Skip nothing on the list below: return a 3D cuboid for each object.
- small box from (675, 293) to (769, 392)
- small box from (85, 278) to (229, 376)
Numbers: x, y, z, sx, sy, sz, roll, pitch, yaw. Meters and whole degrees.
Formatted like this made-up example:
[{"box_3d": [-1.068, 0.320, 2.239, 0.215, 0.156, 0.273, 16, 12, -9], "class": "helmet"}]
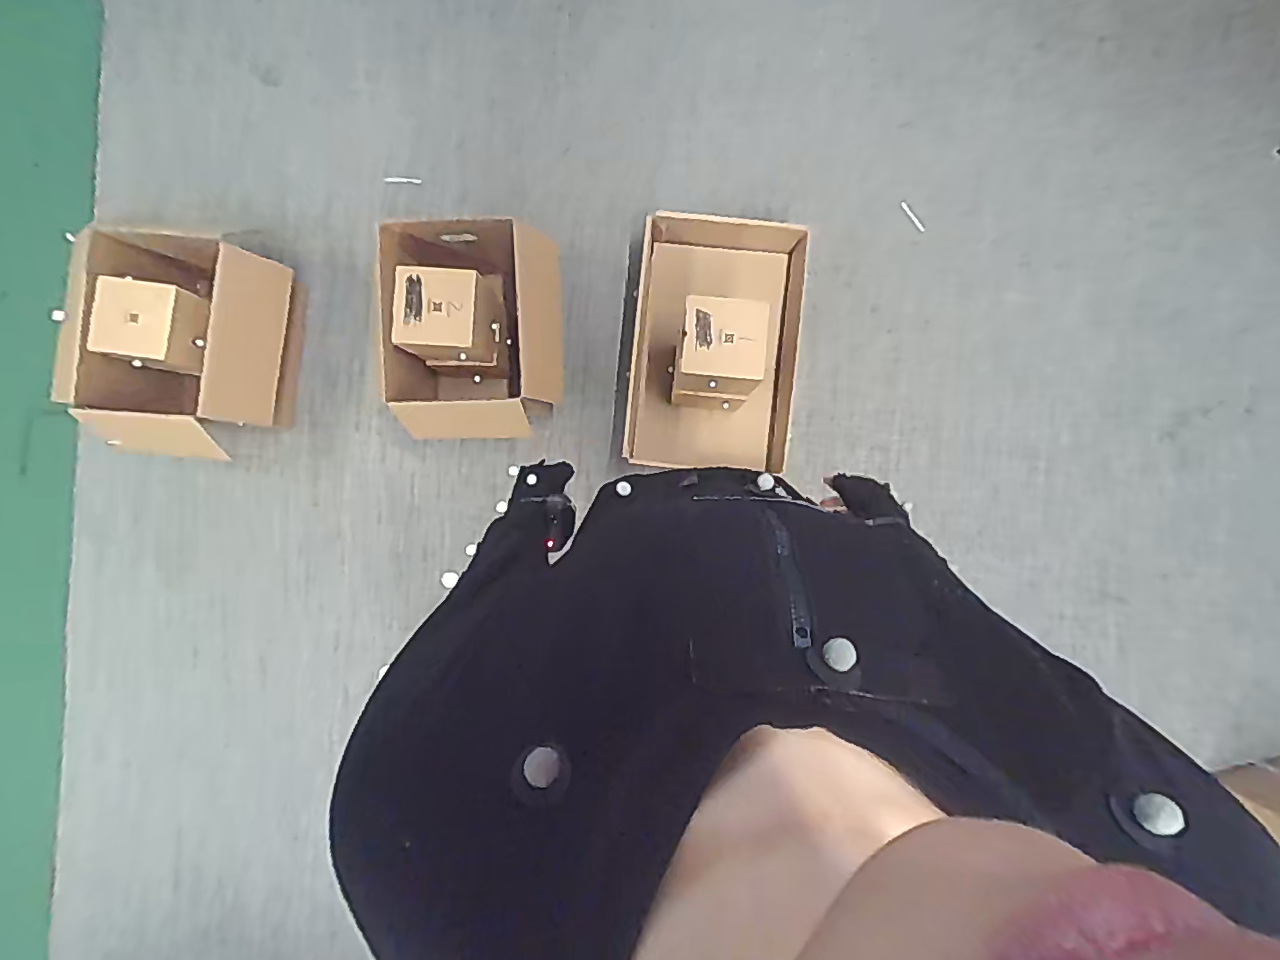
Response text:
[{"box_3d": [0.173, -0.295, 1.191, 0.179, 0.176, 0.168, 5, 87, 0], "class": "small box"}, {"box_3d": [-1.095, -0.342, 1.240, 0.179, 0.176, 0.168, 7, 89, 0], "class": "small box"}]
